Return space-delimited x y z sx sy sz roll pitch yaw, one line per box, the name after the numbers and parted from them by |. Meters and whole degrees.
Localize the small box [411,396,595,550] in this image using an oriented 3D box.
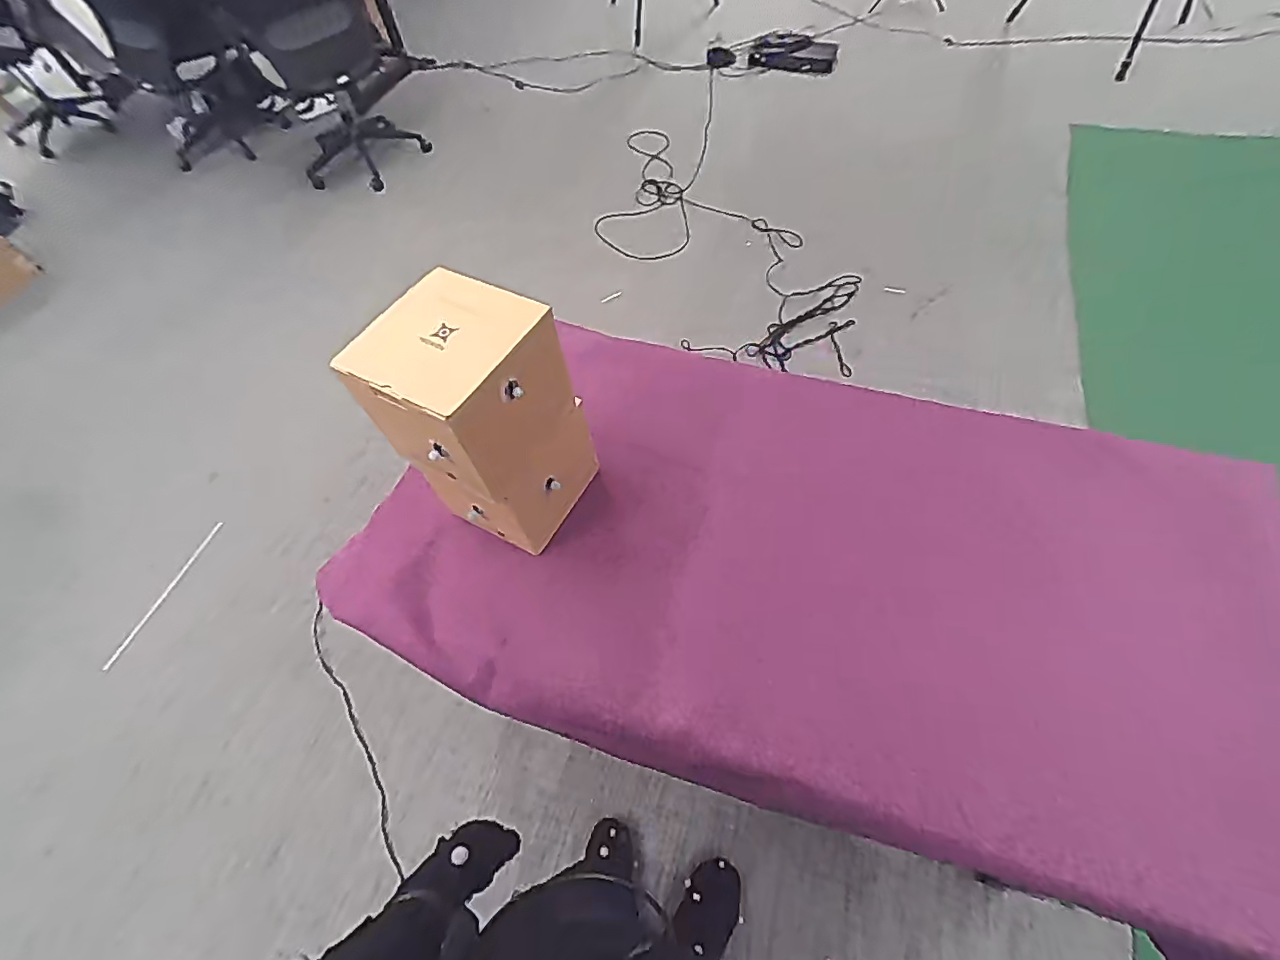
-0.180 -0.026 0.779 0.168 0.176 0.179 23 63 18 | small box

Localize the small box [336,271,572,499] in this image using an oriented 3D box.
-0.199 -0.106 0.637 0.168 0.176 0.179 25 63 19 | small box
